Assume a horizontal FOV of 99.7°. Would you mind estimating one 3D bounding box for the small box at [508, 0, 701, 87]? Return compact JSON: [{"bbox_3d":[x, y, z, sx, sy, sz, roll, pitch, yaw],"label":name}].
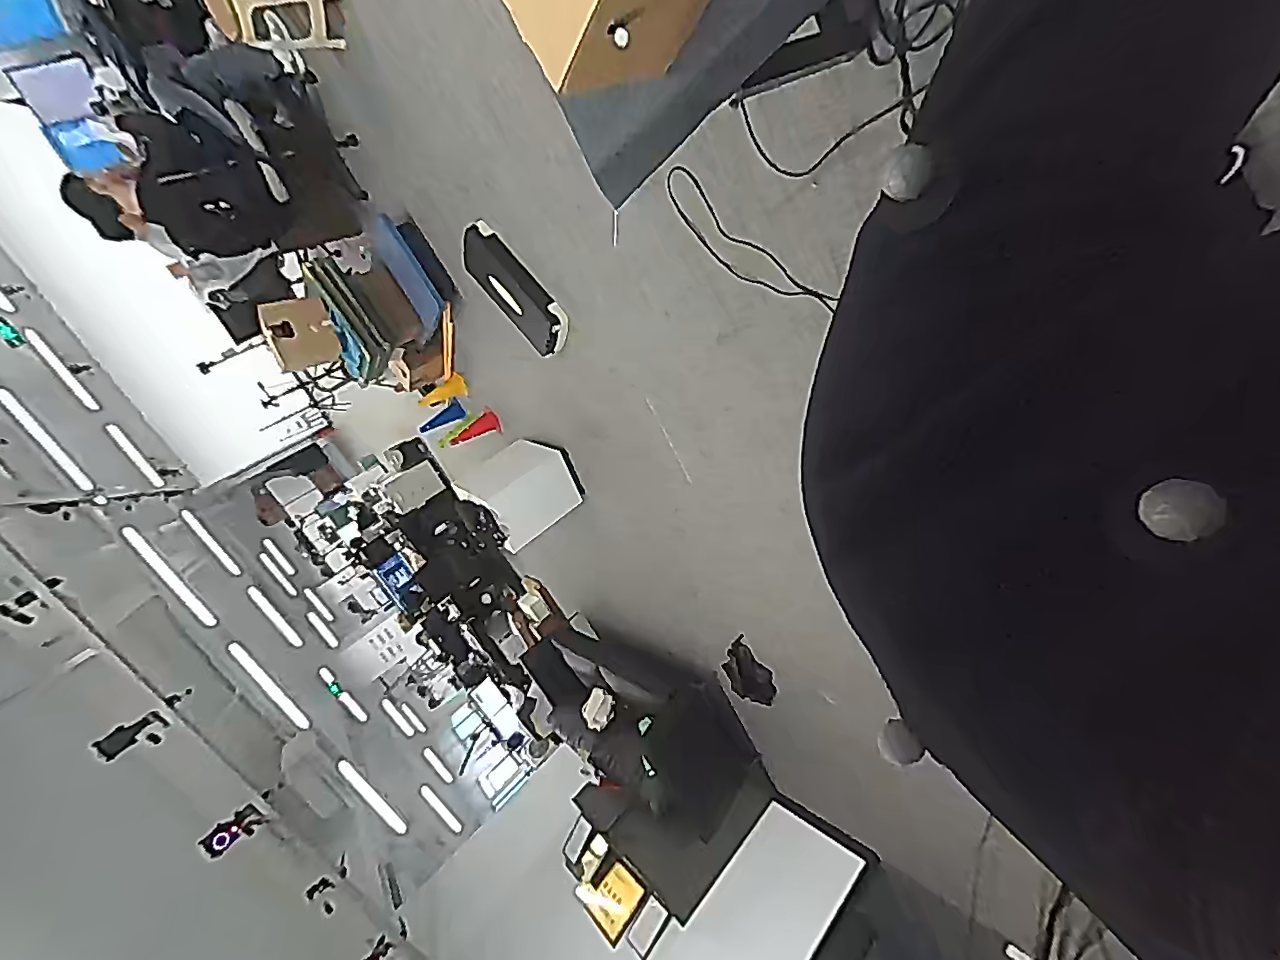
[{"bbox_3d":[-0.030,-0.538,0.524,0.168,0.176,0.179,58,152,-8],"label":"small box"}]
